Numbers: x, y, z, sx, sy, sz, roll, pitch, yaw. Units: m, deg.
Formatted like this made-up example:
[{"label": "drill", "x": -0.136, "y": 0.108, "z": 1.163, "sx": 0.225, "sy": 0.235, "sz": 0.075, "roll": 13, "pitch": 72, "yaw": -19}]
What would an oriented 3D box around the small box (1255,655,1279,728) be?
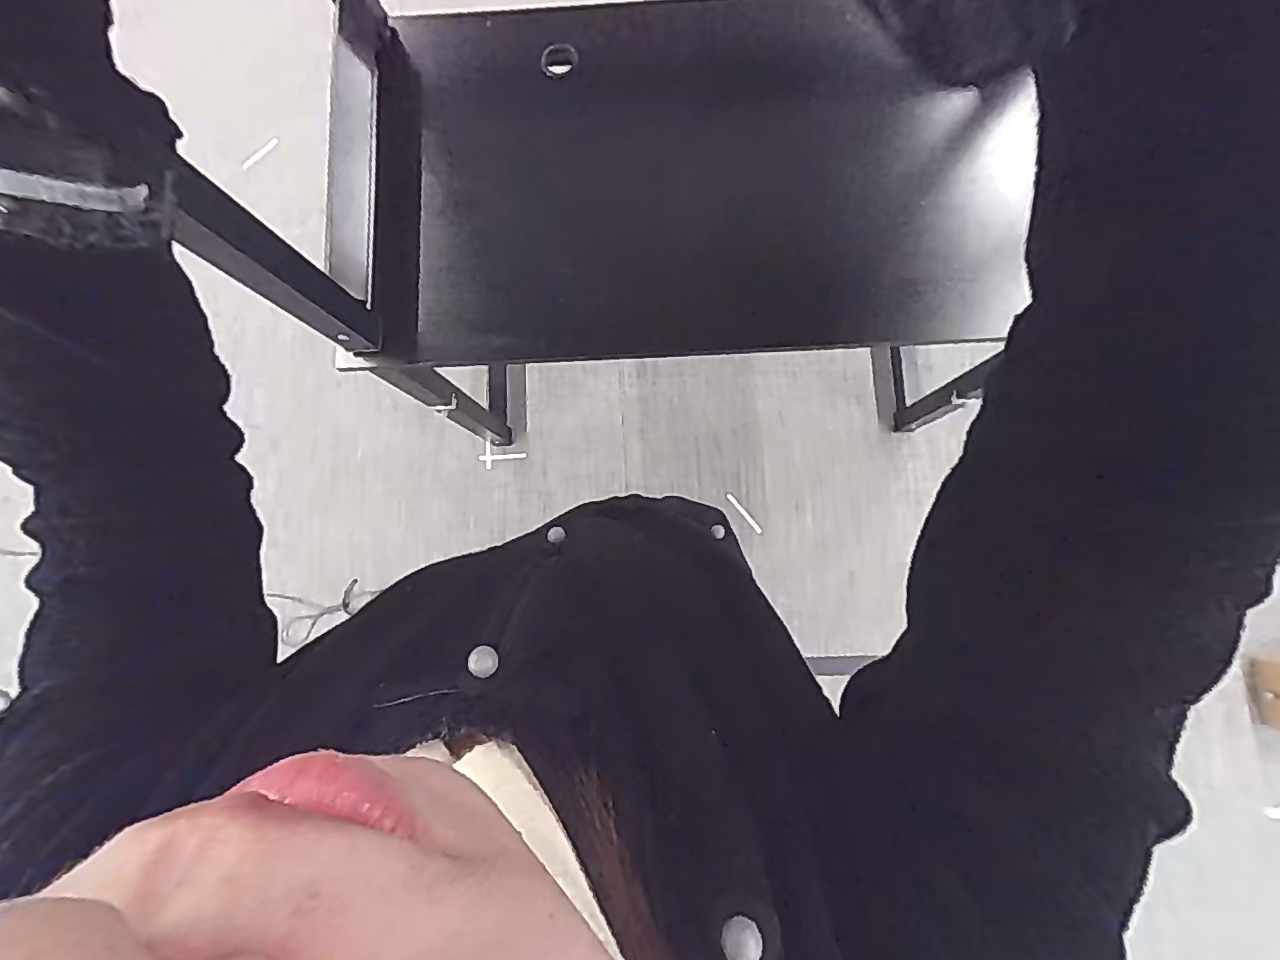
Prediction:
[{"label": "small box", "x": 1.655, "y": 0.527, "z": 1.296, "sx": 0.168, "sy": 0.176, "sz": 0.179, "roll": -3, "pitch": 84, "yaw": 2}]
